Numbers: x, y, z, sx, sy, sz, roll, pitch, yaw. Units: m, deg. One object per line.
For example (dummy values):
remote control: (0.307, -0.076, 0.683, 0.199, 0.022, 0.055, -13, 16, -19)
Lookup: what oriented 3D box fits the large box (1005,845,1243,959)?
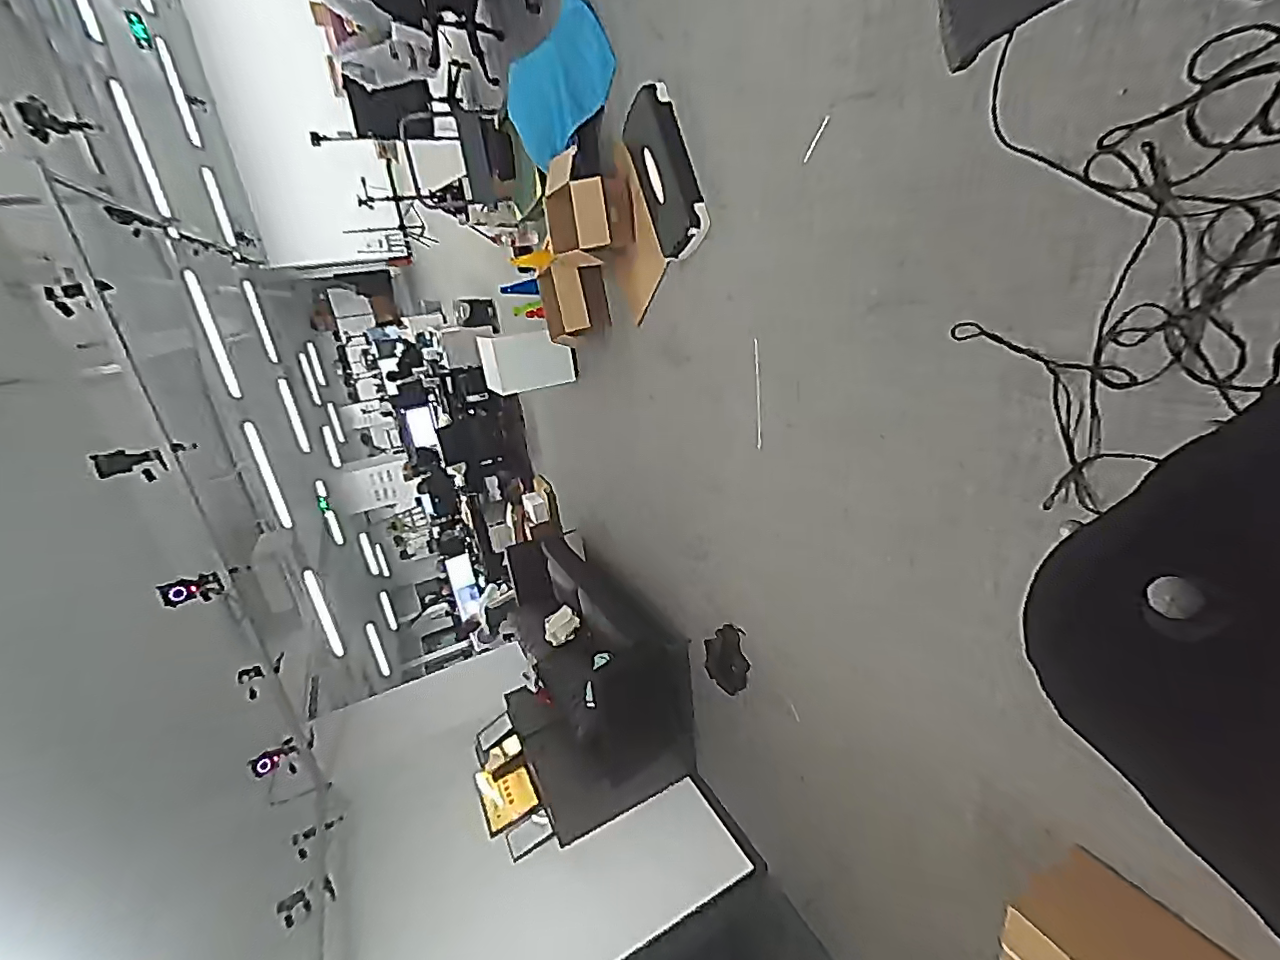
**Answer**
large box: (1.209, 1.238, 1.333, 0.408, 0.320, 0.320, 31, 132, 60)
